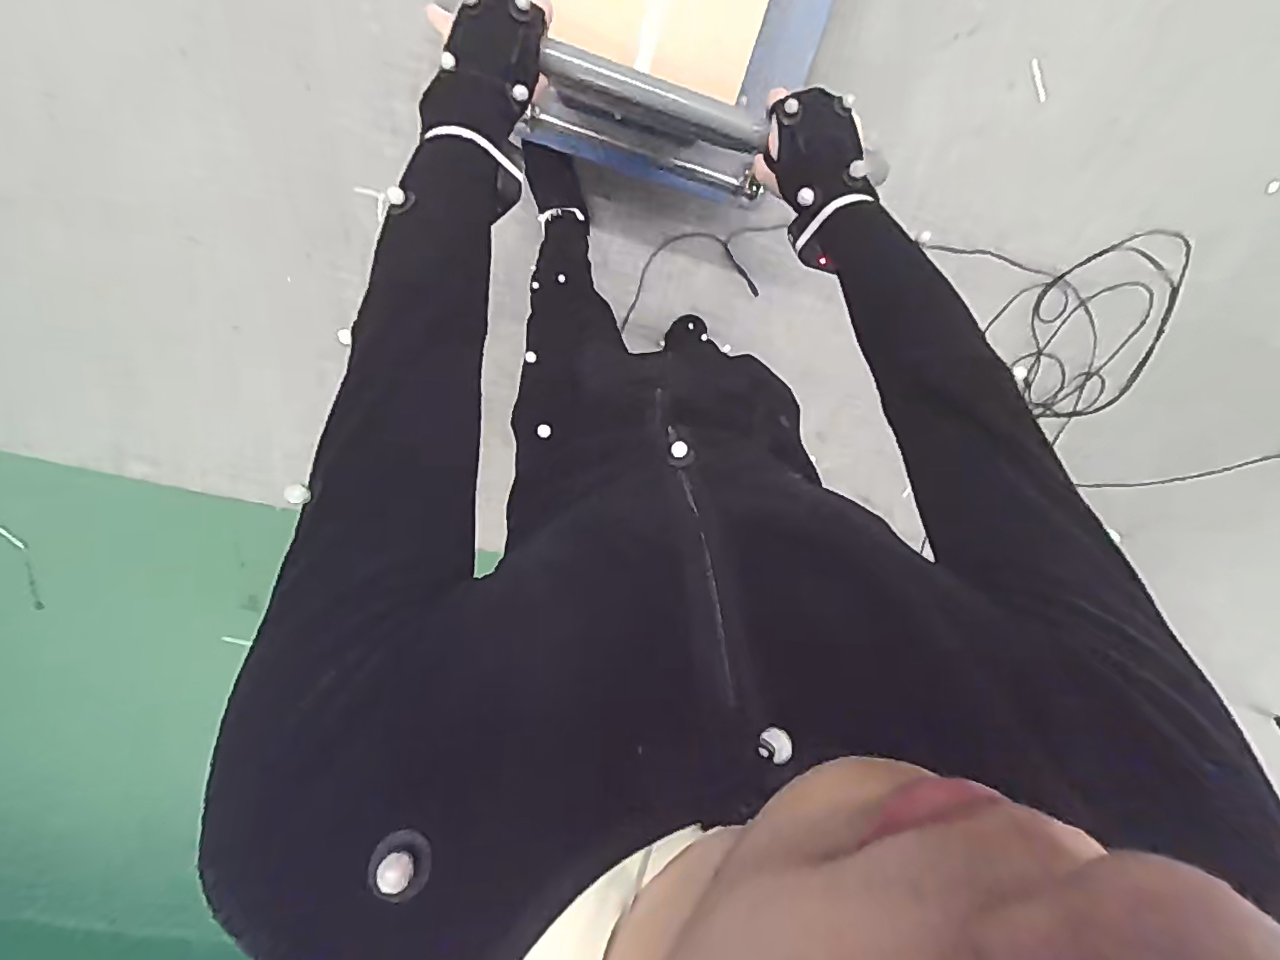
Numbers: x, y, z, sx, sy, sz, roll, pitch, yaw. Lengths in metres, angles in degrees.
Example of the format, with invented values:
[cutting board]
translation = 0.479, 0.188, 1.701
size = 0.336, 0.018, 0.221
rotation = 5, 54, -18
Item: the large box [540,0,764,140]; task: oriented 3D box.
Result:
[large box]
translation = 0.040, -0.845, 0.894
size = 0.320, 0.320, 0.408
rotation = 14, 116, -10
